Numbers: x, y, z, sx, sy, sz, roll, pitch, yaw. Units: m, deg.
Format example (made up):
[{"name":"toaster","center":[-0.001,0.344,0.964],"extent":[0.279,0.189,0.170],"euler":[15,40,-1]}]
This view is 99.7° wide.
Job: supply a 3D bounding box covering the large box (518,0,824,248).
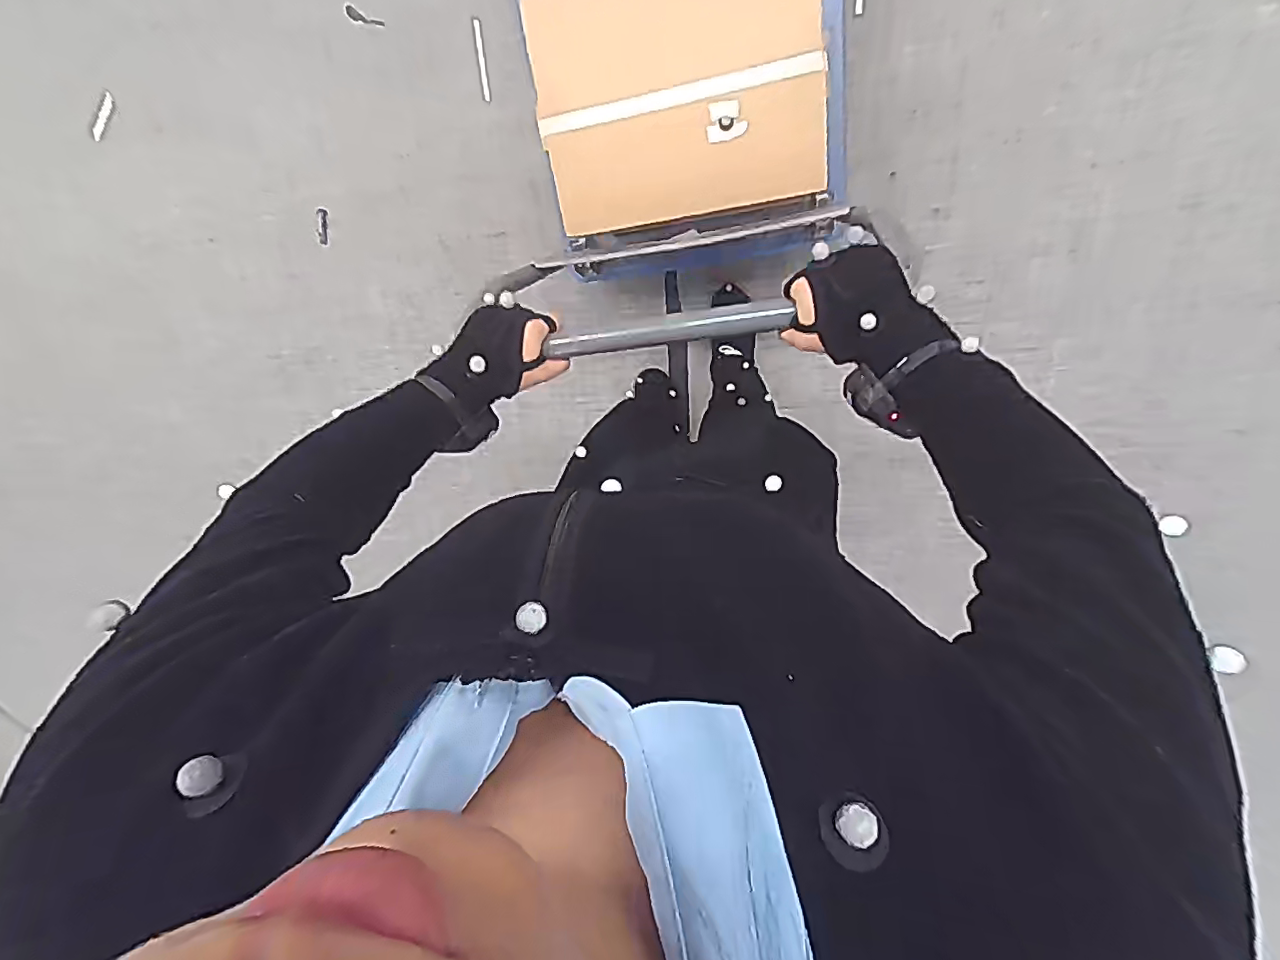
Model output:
[{"name":"large box","center":[0.069,-0.592,0.899],"extent":[0.408,0.320,0.320],"euler":[-5,115,12]}]
